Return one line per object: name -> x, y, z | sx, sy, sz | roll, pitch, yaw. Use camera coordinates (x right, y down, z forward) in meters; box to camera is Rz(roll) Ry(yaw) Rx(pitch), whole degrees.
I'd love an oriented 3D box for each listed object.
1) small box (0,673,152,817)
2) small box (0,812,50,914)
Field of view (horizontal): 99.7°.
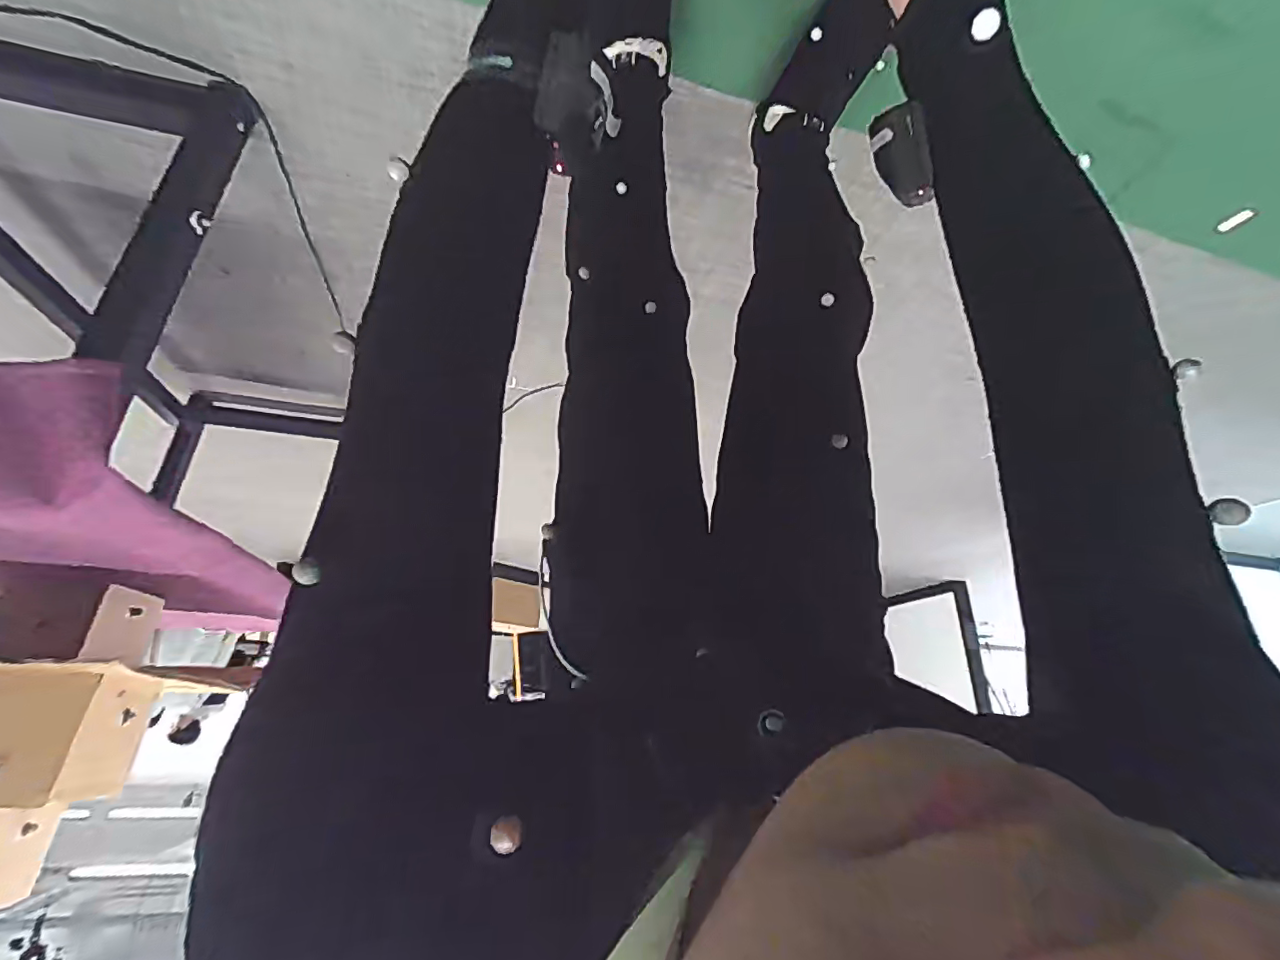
small box -> -0.865, 0.373, 0.771 | 0.179, 0.176, 0.168 | 6, 154, -12
small box -> -1.097, 0.592, 0.845 | 0.179, 0.176, 0.168 | 6, 153, -12
